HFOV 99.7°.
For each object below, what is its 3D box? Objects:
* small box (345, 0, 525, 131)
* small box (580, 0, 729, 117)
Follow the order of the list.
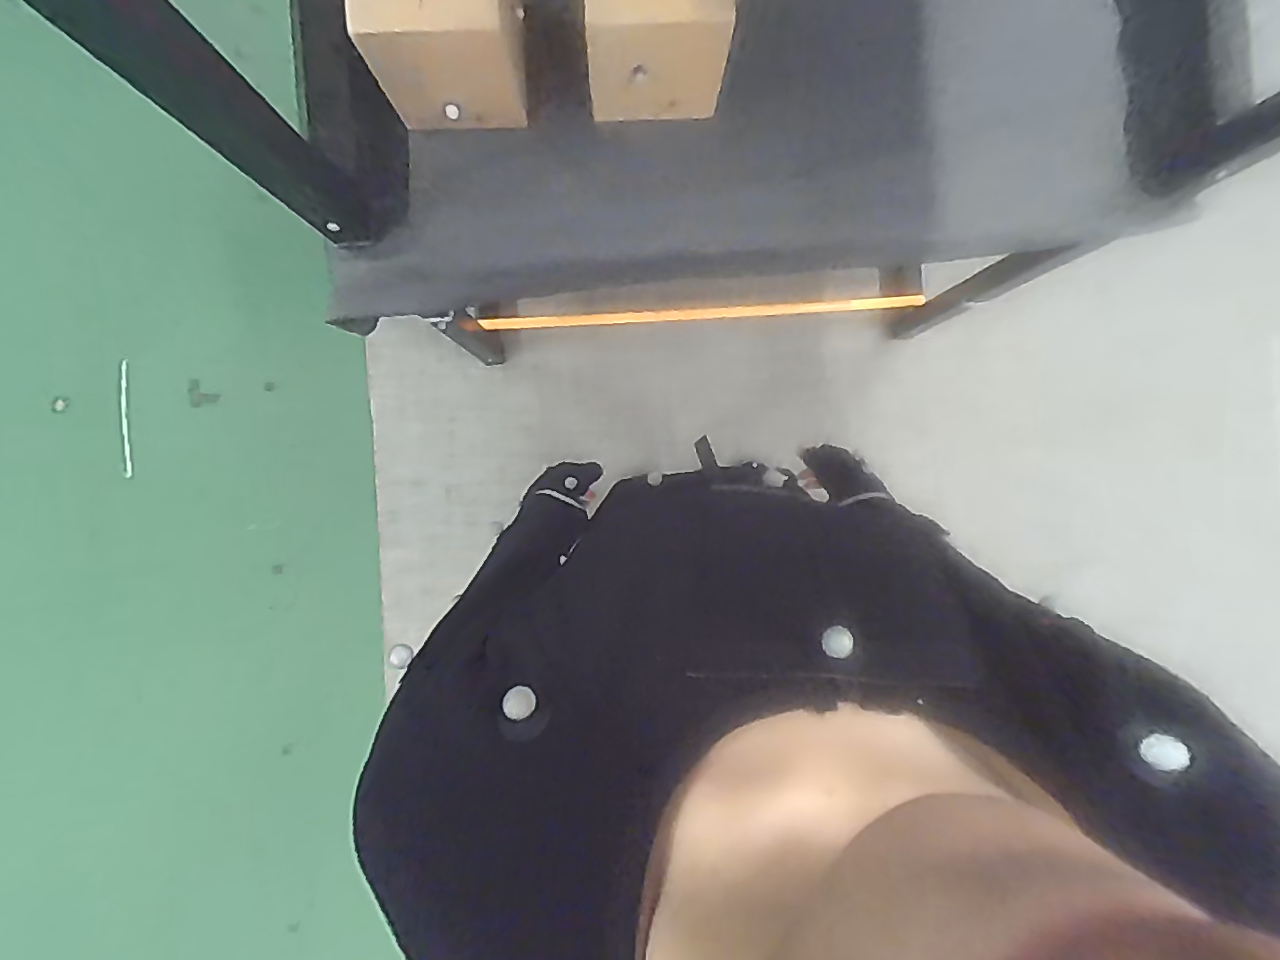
[{"bbox_3d":[-0.239,-0.567,0.662,0.168,0.176,0.179,-3,91,-1],"label":"small box"},{"bbox_3d":[0.013,-0.582,0.669,0.168,0.176,0.179,-3,90,-1],"label":"small box"}]
